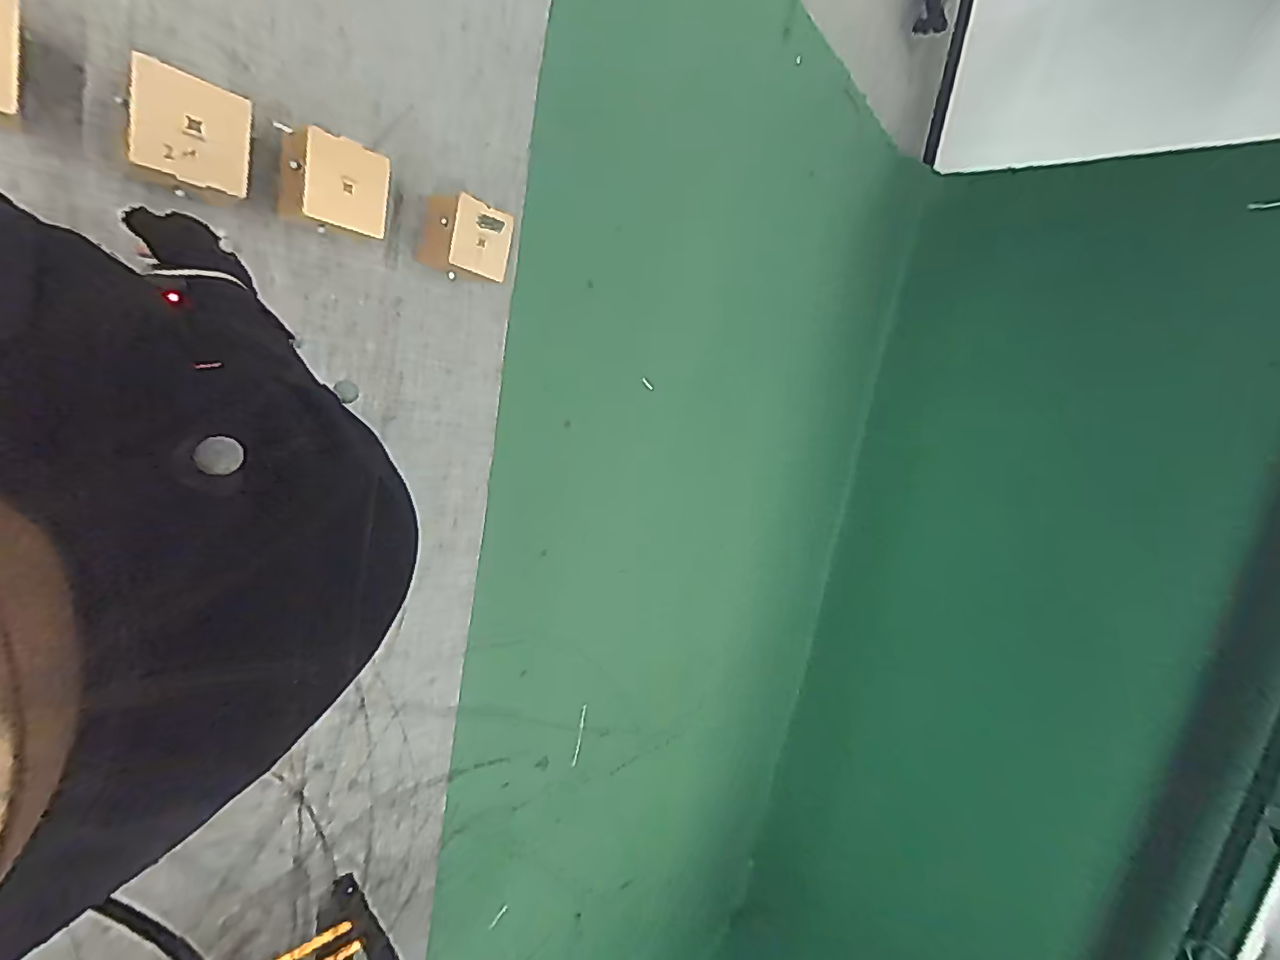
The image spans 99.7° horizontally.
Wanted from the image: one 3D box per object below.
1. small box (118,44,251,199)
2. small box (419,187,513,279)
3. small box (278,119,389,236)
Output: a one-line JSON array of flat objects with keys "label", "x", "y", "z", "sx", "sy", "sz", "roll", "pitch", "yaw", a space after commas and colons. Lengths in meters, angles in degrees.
[{"label": "small box", "x": -0.847, "y": -0.645, "z": 1.002, "sx": 0.168, "sy": 0.176, "sz": 0.179, "roll": 0, "pitch": 104, "yaw": -48}, {"label": "small box", "x": -0.467, "y": -0.650, "z": 1.442, "sx": 0.168, "sy": 0.176, "sz": 0.179, "roll": 4, "pitch": 102, "yaw": -49}, {"label": "small box", "x": -0.681, "y": -0.653, "z": 1.196, "sx": 0.168, "sy": 0.176, "sz": 0.179, "roll": -2, "pitch": 106, "yaw": -49}]
